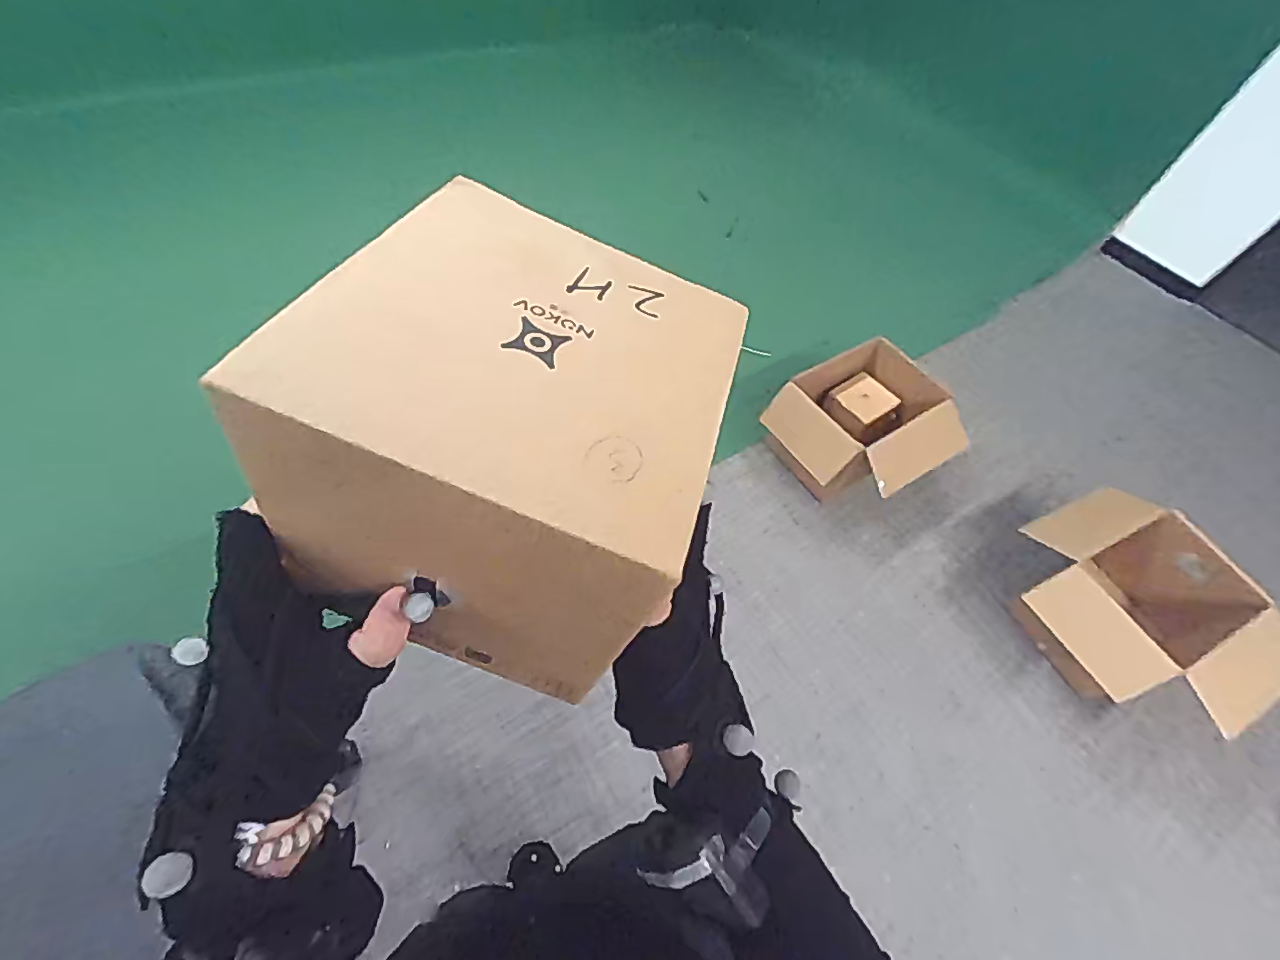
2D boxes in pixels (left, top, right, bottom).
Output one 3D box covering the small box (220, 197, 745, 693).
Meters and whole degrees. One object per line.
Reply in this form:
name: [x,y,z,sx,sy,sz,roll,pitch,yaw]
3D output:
small box: [-0.063,-0.009,0.295,0.168,0.176,0.179,23,50,-3]
